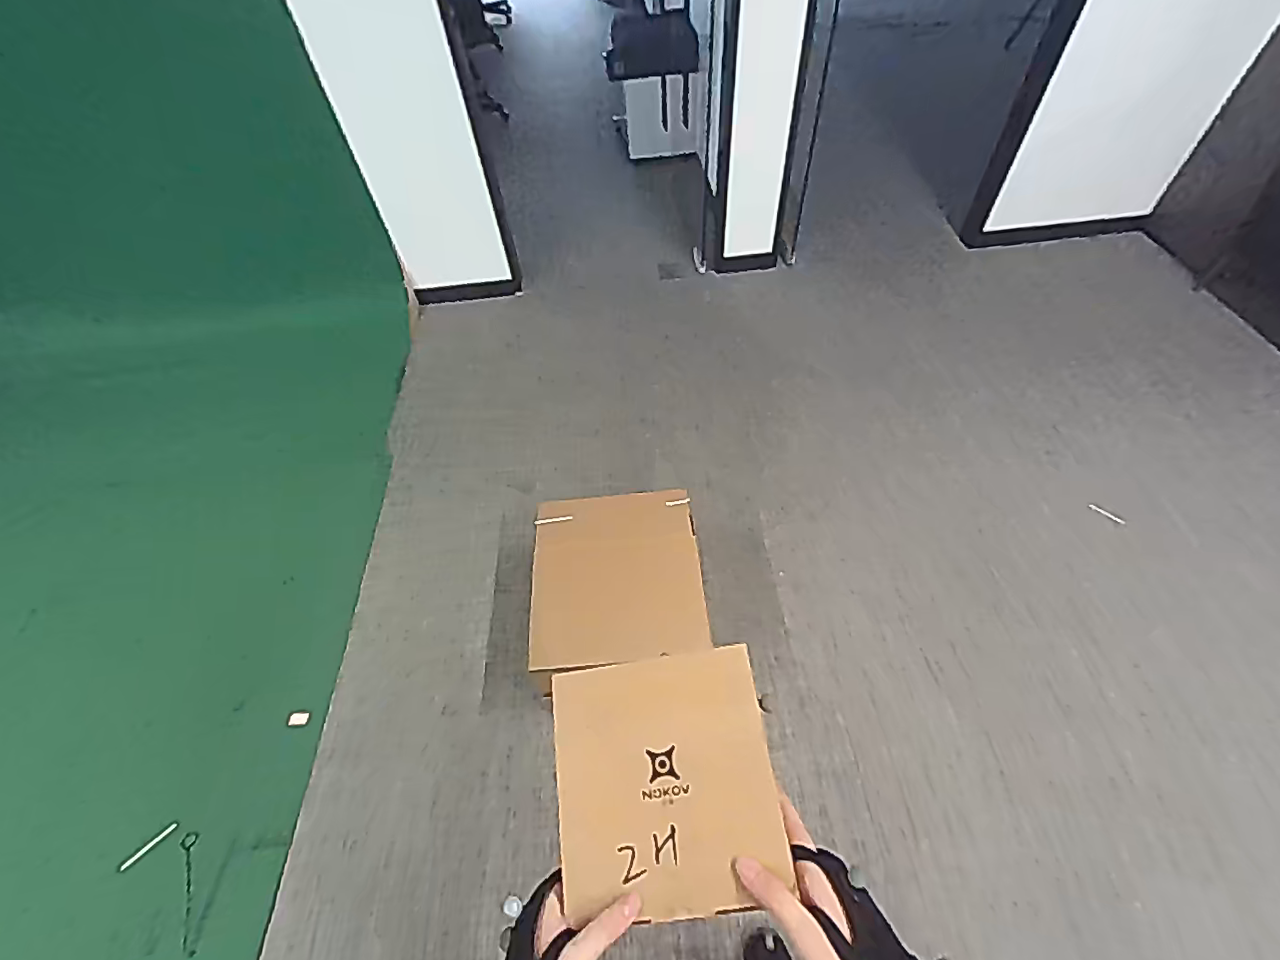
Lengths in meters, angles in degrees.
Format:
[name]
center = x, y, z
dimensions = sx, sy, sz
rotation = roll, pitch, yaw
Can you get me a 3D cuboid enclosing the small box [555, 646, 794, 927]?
[small box]
center = 0.030, 0.263, 0.485
dimensions = 0.168, 0.176, 0.179
rotation = -11, 63, 6
